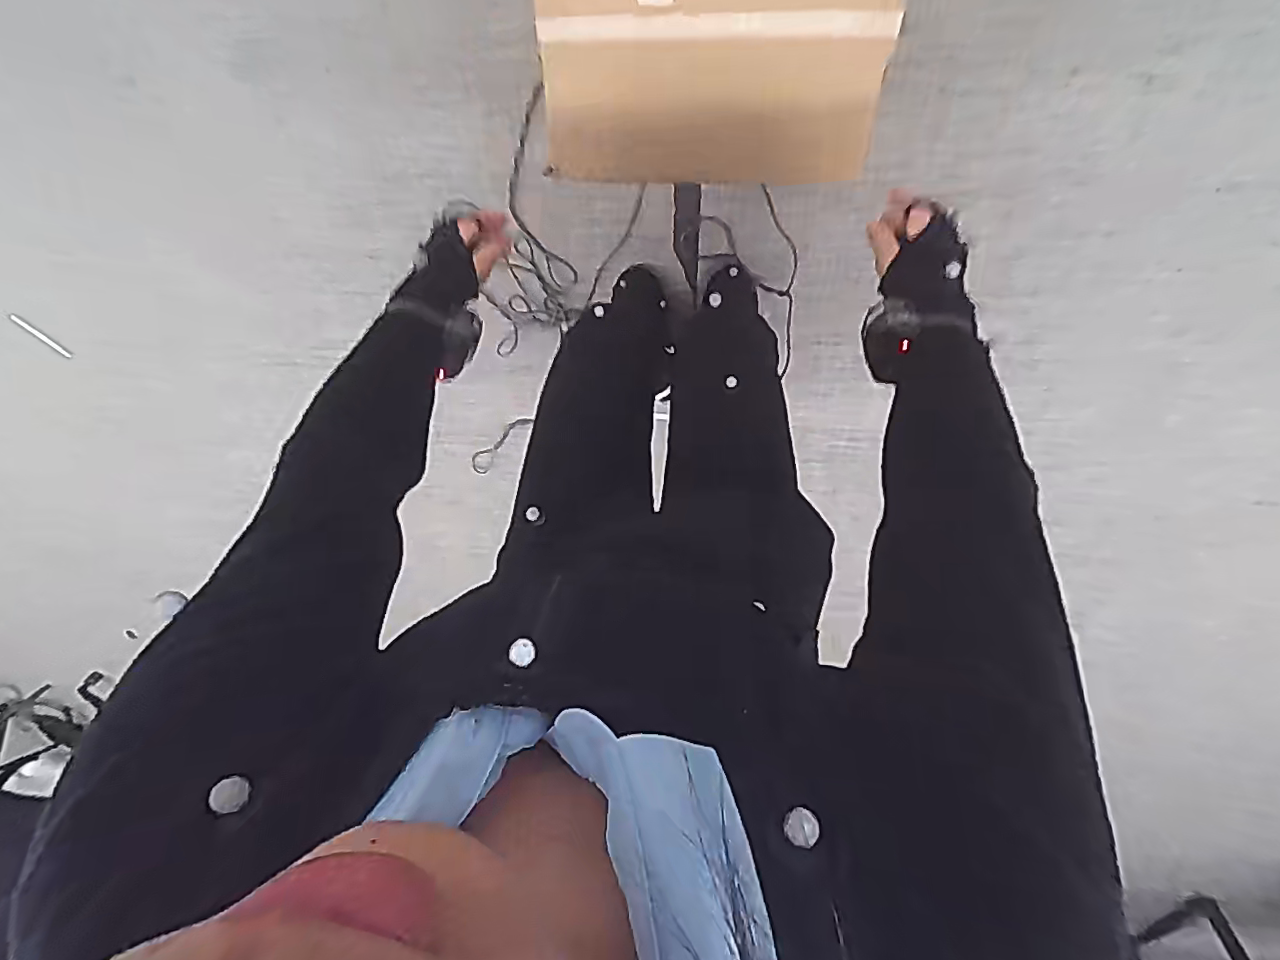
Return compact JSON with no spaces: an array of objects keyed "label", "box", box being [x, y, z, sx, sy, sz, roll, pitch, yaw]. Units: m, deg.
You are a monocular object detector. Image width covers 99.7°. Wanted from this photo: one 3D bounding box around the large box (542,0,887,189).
[{"label":"large box","box":[0.098,-0.603,0.763,0.408,0.320,0.320,3,123,5]}]
